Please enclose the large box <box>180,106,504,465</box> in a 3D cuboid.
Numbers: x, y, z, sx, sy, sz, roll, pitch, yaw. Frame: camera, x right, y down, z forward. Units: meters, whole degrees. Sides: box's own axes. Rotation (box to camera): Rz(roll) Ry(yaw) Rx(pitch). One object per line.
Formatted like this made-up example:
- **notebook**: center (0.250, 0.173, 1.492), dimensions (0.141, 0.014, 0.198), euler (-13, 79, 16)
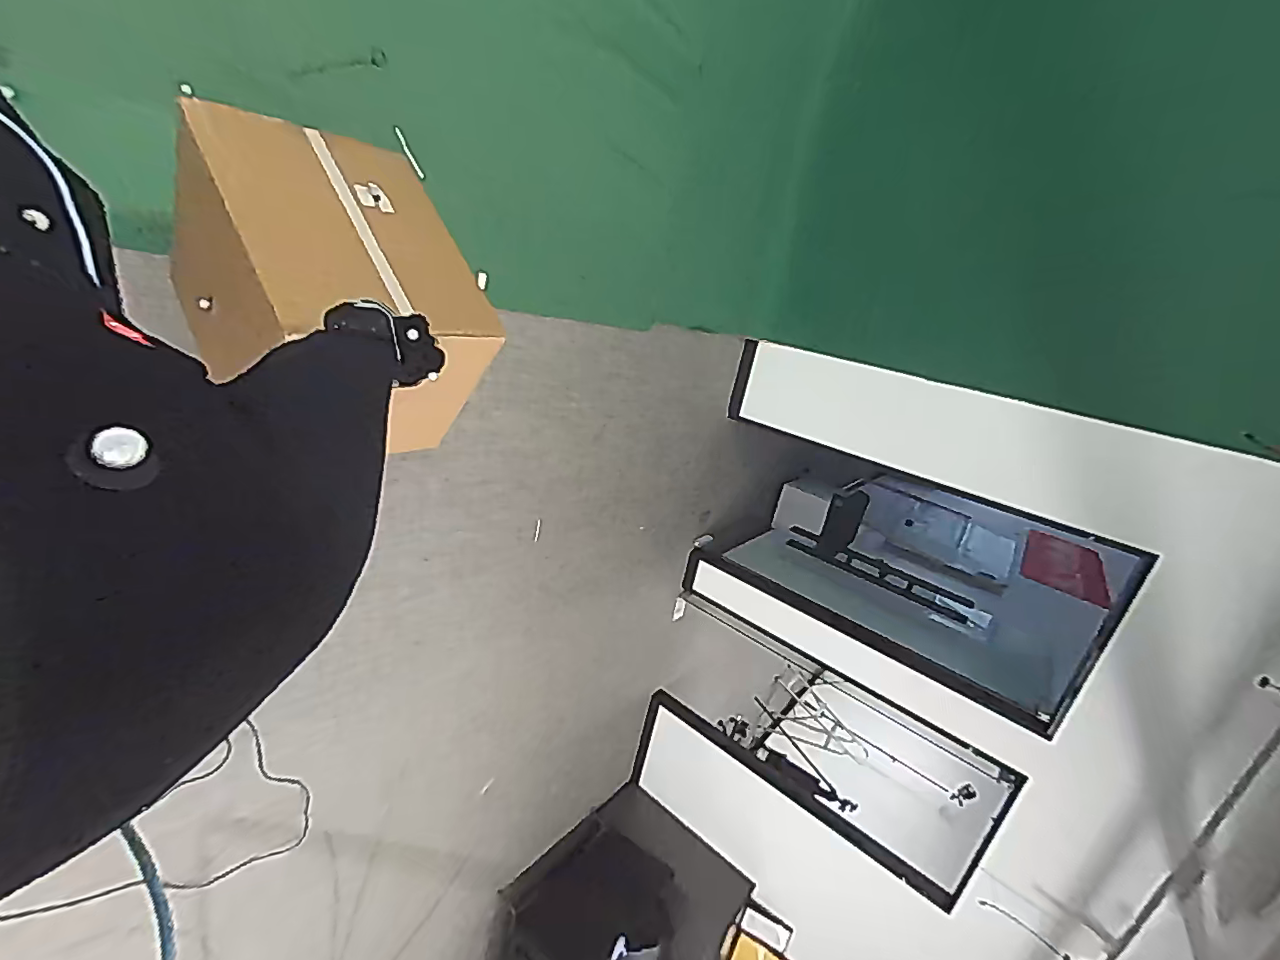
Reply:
- **large box**: center (-0.496, -0.288, 0.885), dimensions (0.320, 0.408, 0.320), euler (-16, 160, -49)
